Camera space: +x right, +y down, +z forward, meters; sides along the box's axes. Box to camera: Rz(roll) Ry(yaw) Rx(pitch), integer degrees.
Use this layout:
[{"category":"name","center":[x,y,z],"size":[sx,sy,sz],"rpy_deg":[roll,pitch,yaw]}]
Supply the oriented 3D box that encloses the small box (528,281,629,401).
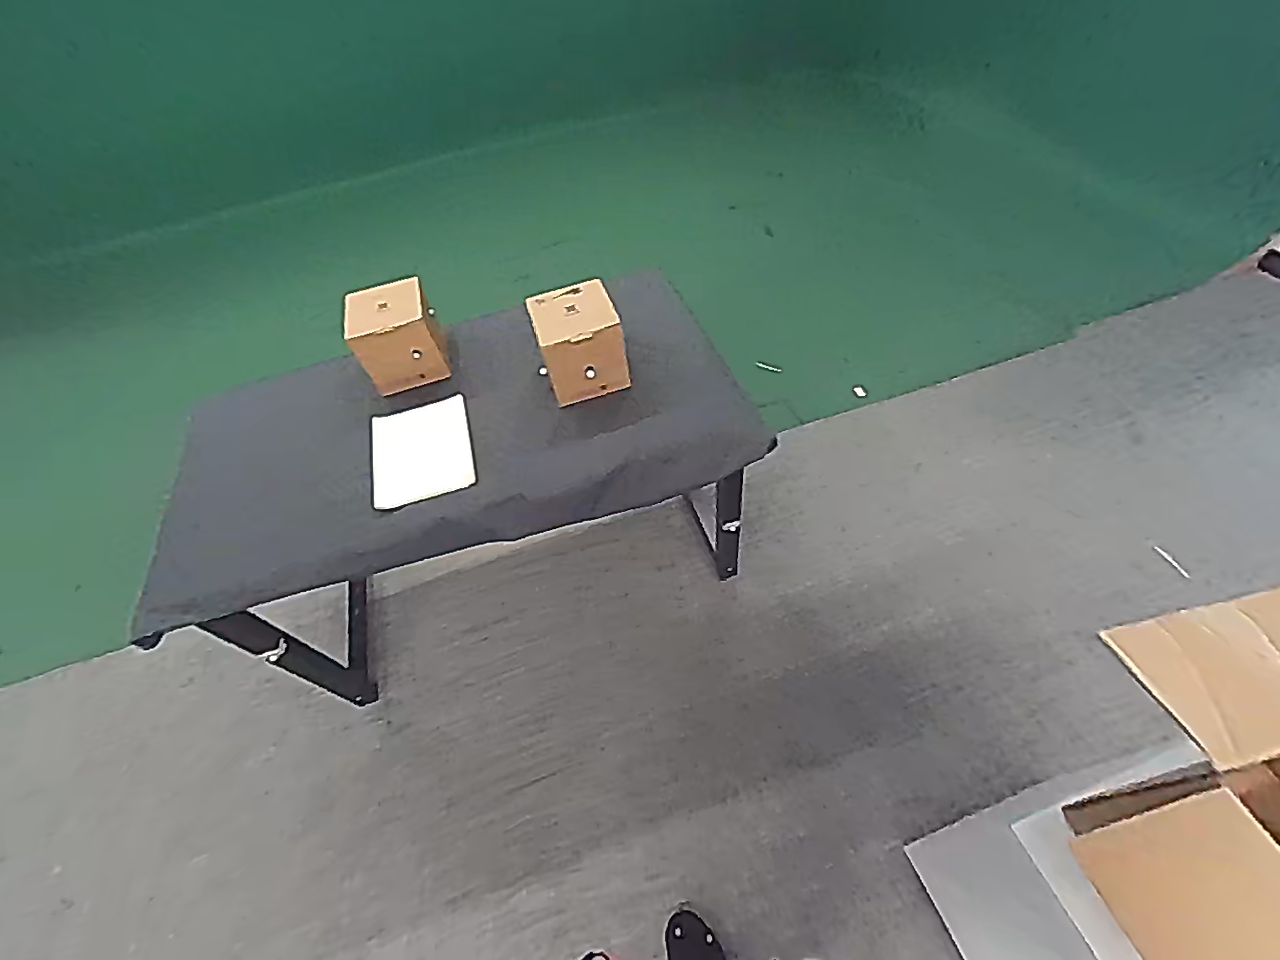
[{"category":"small box","center":[-0.128,-0.290,1.164],"size":[0.168,0.176,0.179],"rpy_deg":[-17,54,-6]}]

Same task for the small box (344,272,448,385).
[{"category":"small box","center":[-0.552,-0.338,1.236],"size":[0.168,0.176,0.179],"rpy_deg":[-18,53,-7]}]
